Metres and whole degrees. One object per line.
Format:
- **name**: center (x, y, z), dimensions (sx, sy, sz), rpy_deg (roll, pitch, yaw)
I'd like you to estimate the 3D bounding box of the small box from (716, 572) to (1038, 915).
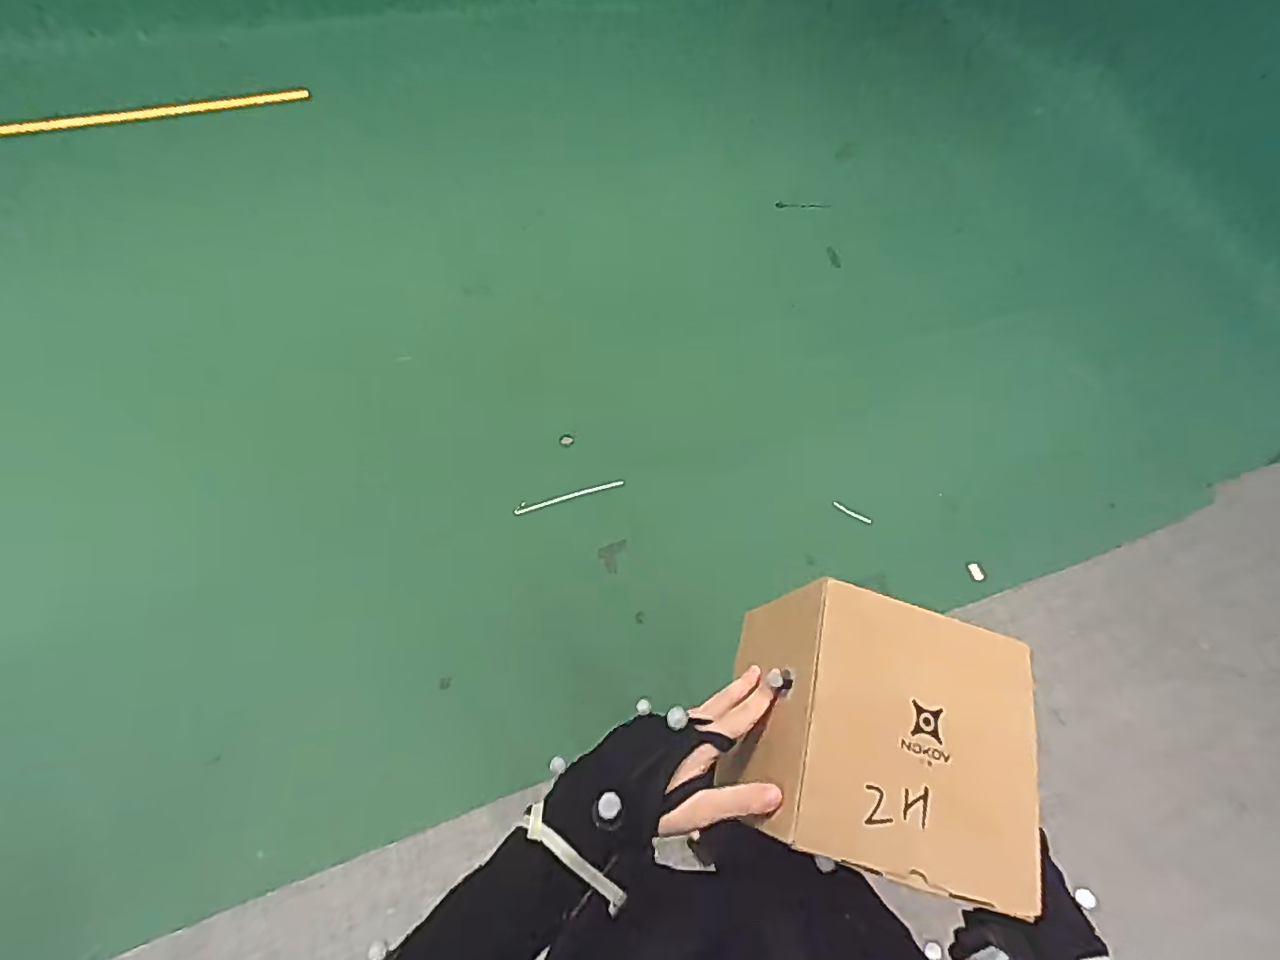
- **small box**: center (0.174, 0.199, 0.436), dimensions (0.168, 0.176, 0.179), rpy_deg (19, 64, -3)
